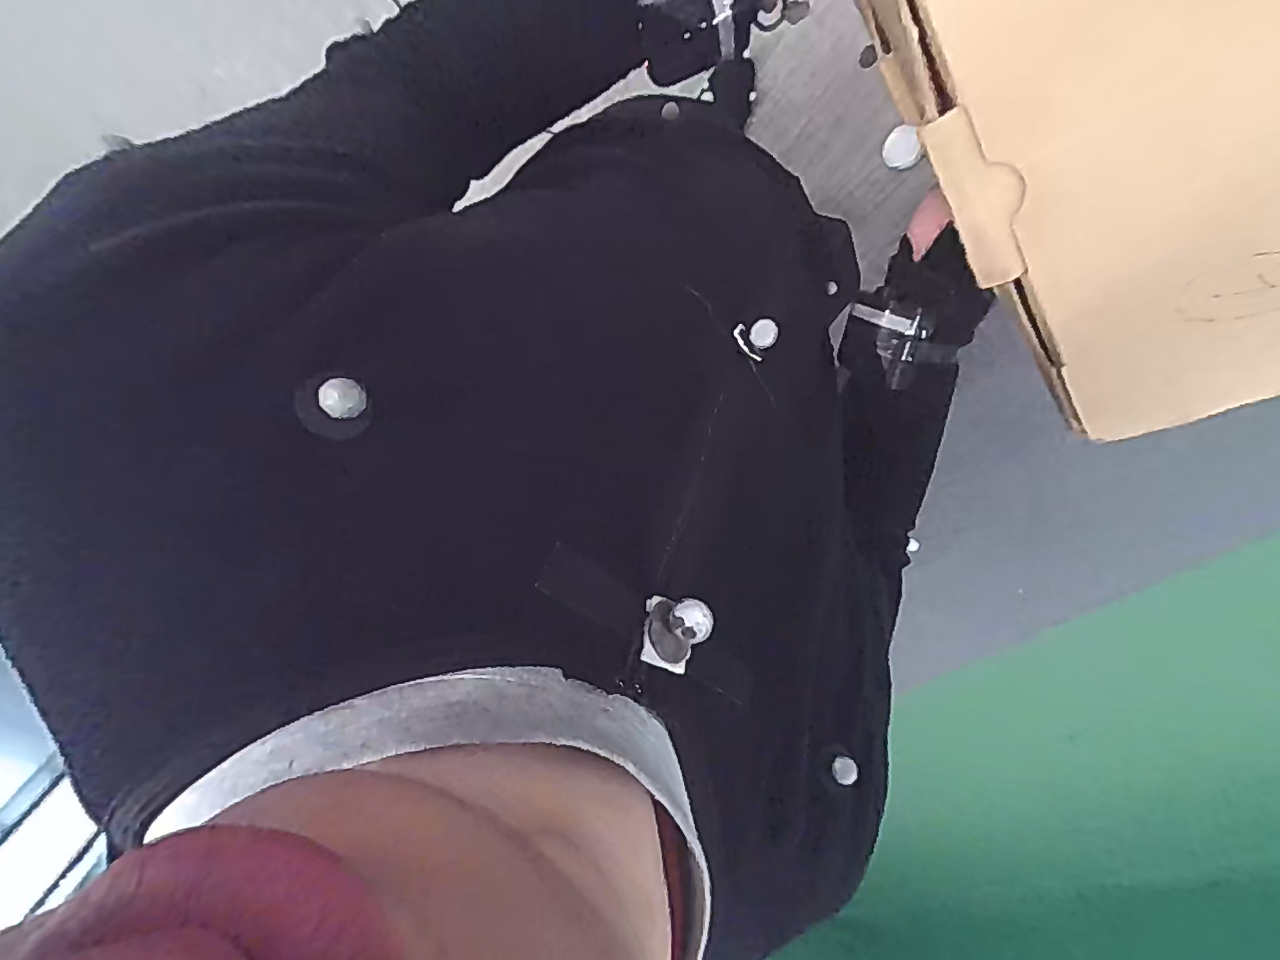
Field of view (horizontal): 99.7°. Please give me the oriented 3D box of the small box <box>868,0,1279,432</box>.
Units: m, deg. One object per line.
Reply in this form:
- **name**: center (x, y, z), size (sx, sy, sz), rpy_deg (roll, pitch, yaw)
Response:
- **small box**: center (0.162, -0.147, 0.132), size (0.179, 0.176, 0.168), rpy_deg (-23, 120, 36)
